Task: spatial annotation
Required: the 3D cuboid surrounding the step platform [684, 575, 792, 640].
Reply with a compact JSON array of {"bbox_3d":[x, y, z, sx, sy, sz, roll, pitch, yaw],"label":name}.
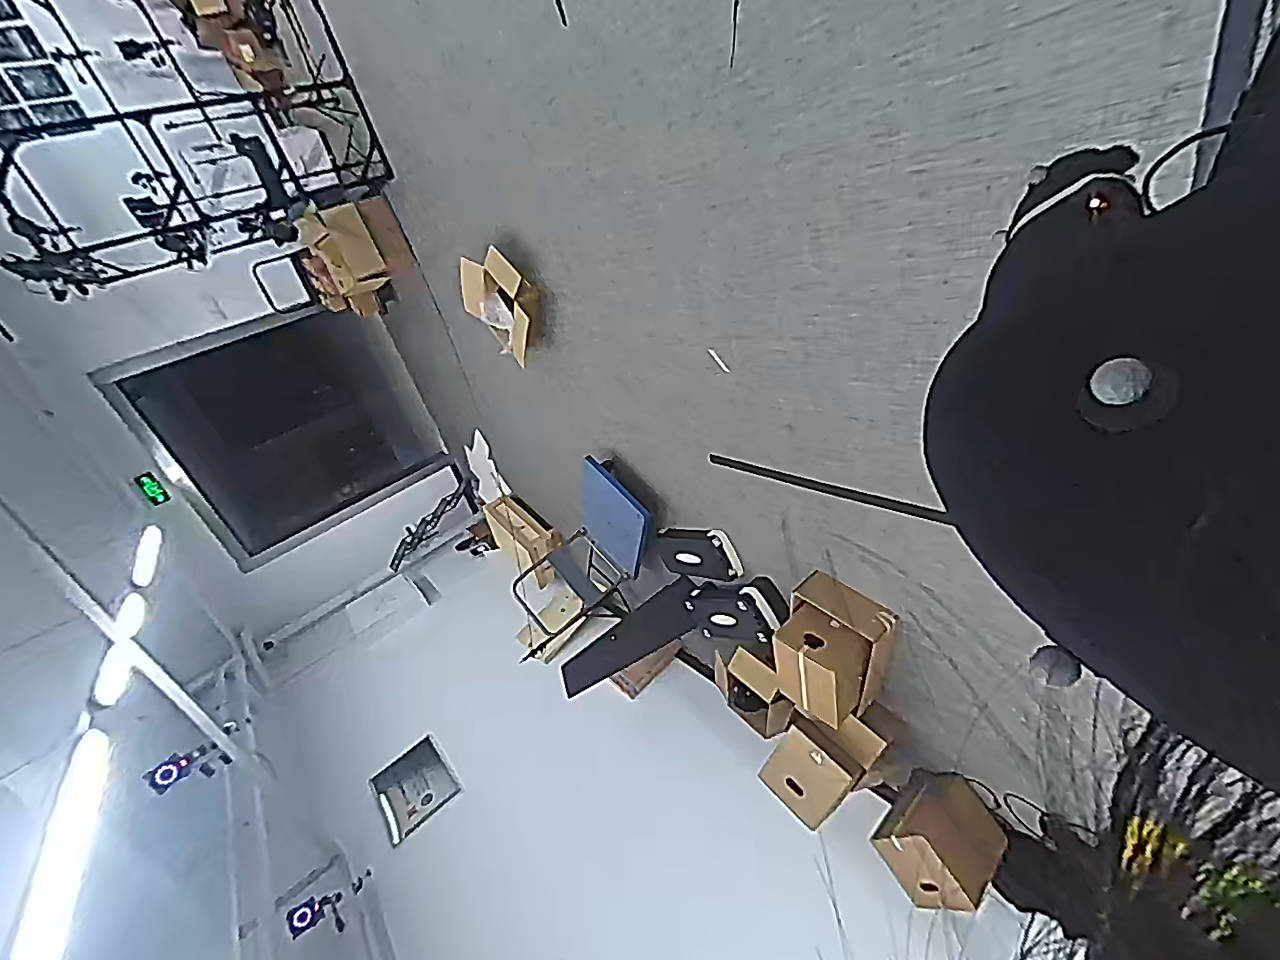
[{"bbox_3d":[0.522,0.722,3.041,0.286,0.204,0.684,57,152,-3],"label":"step platform"}]
